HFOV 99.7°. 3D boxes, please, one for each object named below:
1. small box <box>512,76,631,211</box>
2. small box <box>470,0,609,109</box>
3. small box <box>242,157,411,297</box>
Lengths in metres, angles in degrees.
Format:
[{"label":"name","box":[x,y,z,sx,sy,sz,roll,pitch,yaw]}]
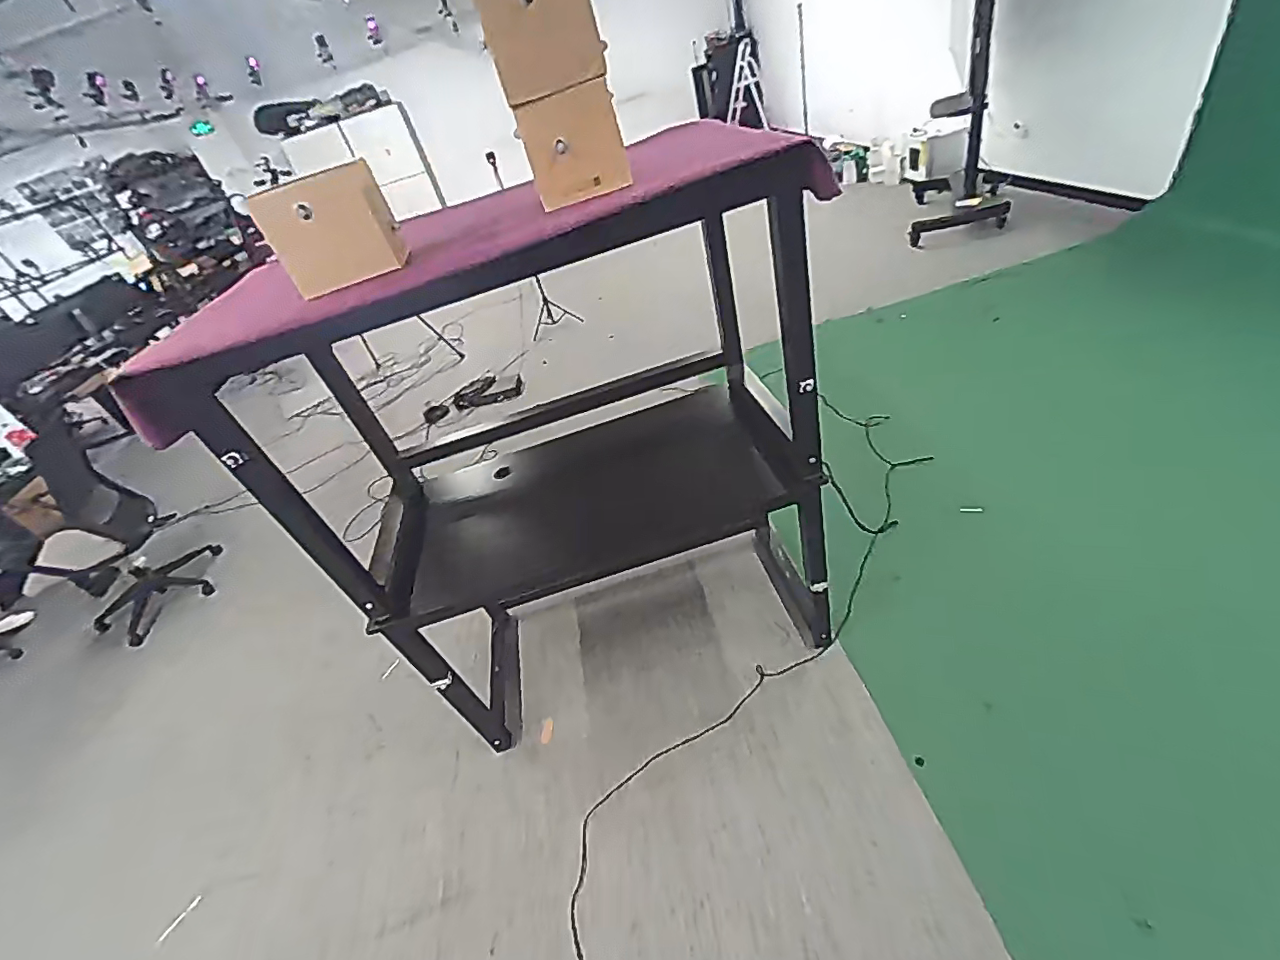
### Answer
[{"label":"small box","box":[-0.121,-0.614,0.994,0.168,0.176,0.179,-16,36,4]},{"label":"small box","box":[-0.165,-0.733,0.890,0.179,0.176,0.168,-18,37,1]},{"label":"small box","box":[-0.533,-0.442,0.949,0.179,0.176,0.168,-20,37,-2]}]
